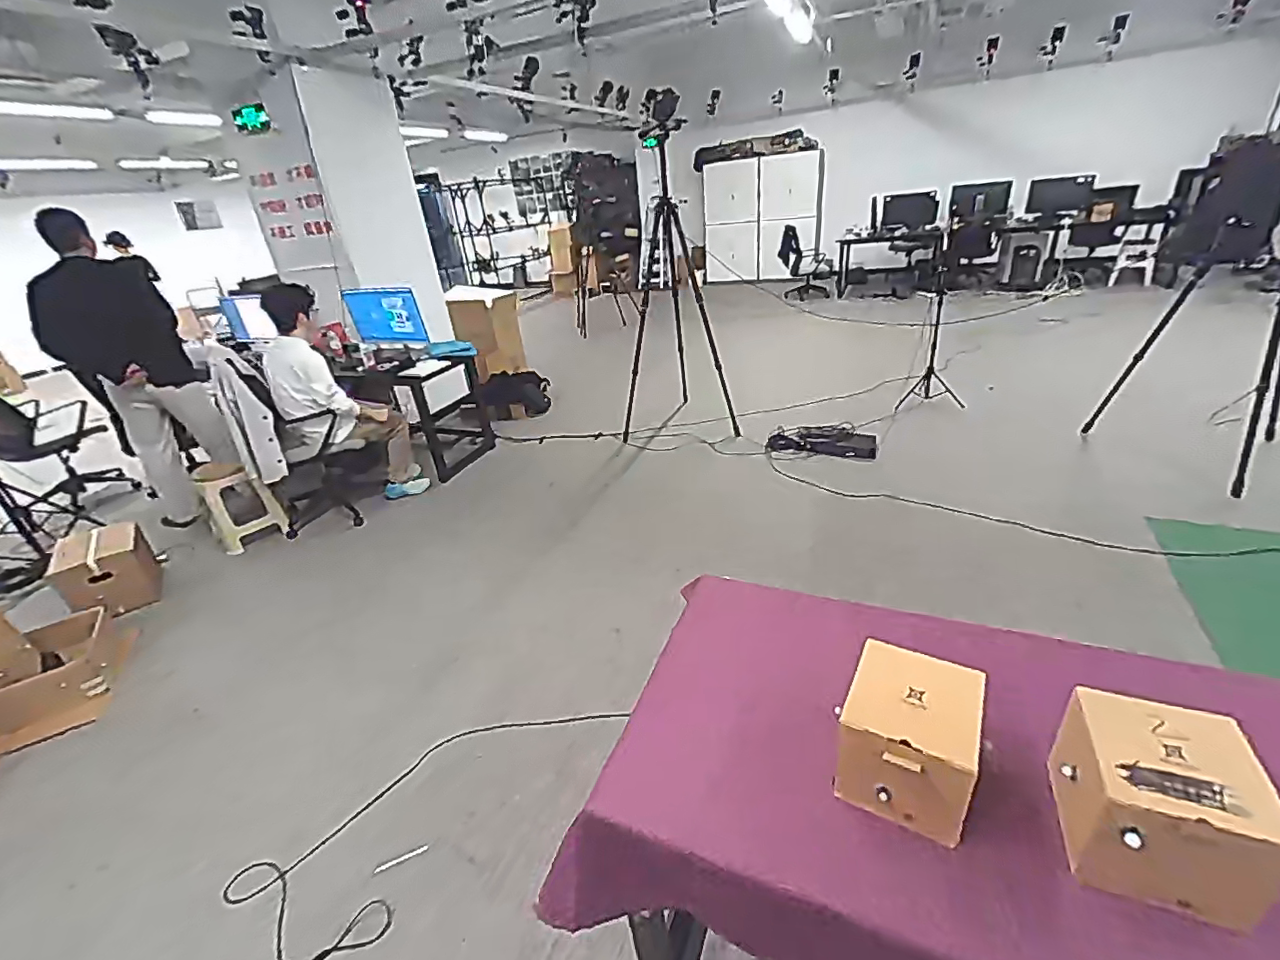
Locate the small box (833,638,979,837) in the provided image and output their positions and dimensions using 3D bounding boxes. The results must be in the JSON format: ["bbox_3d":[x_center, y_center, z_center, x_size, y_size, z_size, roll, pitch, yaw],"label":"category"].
[{"bbox_3d":[0.397,0.381,0.817,0.168,0.176,0.179,11,34,30],"label":"small box"}]
